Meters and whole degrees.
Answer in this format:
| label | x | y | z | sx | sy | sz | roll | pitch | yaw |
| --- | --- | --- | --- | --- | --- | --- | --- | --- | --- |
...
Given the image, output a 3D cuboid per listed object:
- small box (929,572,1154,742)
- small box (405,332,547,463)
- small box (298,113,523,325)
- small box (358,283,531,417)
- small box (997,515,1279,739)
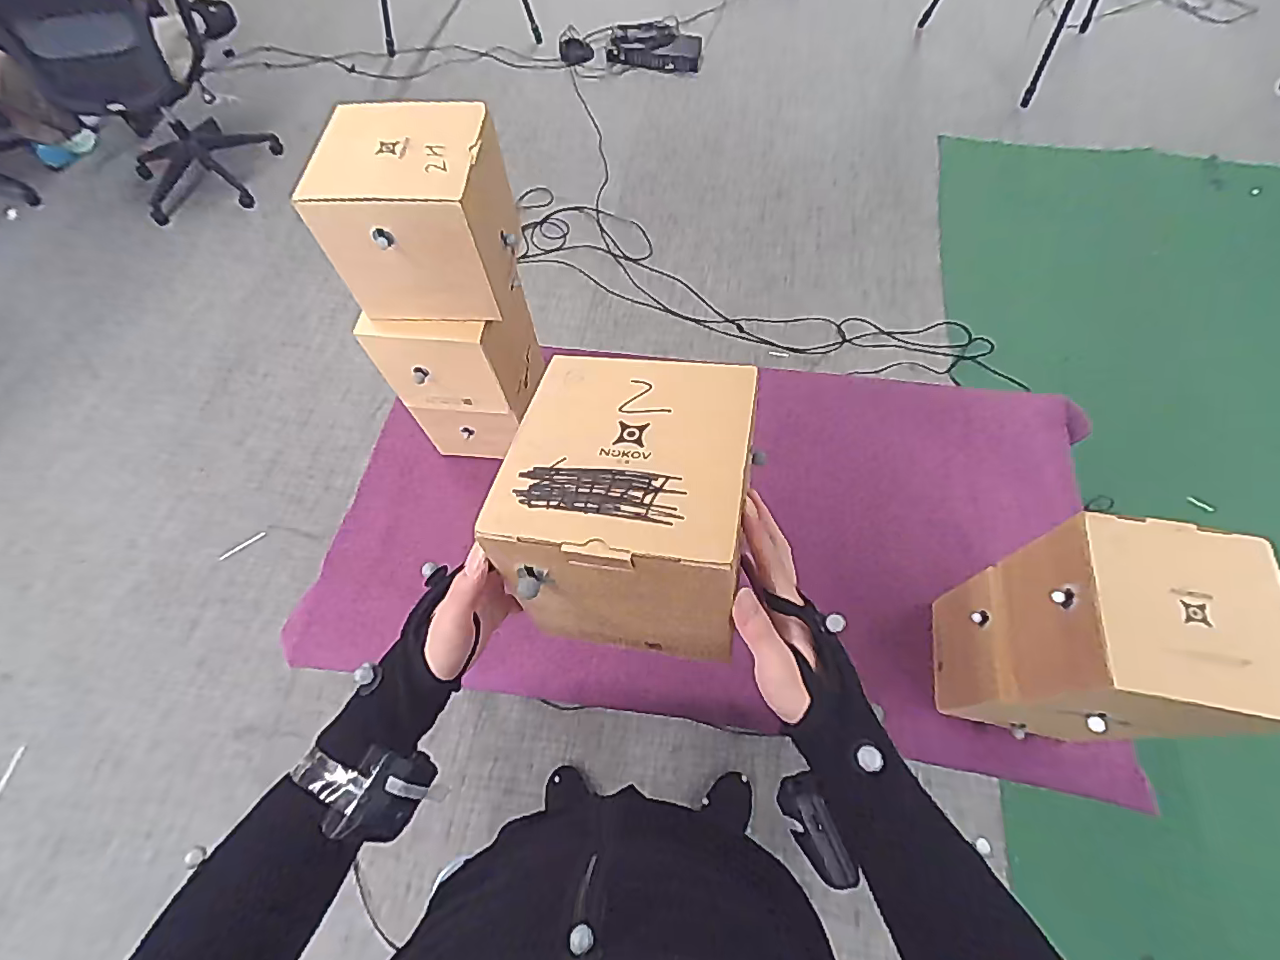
| label | x | y | z | sx | sy | sz | roll | pitch | yaw |
| --- | --- | --- | --- | --- | --- | --- | --- | --- | --- |
| small box | 0.510 | 0.240 | 0.716 | 0.179 | 0.176 | 0.168 | 11 | 63 | 7 |
| small box | -0.266 | -0.141 | 0.930 | 0.179 | 0.176 | 0.168 | 4 | 63 | 4 |
| small box | -0.254 | -0.304 | 0.647 | 0.179 | 0.176 | 0.168 | 2 | 63 | 2 |
| small box | -0.265 | -0.208 | 0.783 | 0.168 | 0.176 | 0.179 | 5 | 63 | 4 |
| small box | 0.509 | 0.161 | 0.573 | 0.168 | 0.176 | 0.179 | 10 | 63 | 9 |
